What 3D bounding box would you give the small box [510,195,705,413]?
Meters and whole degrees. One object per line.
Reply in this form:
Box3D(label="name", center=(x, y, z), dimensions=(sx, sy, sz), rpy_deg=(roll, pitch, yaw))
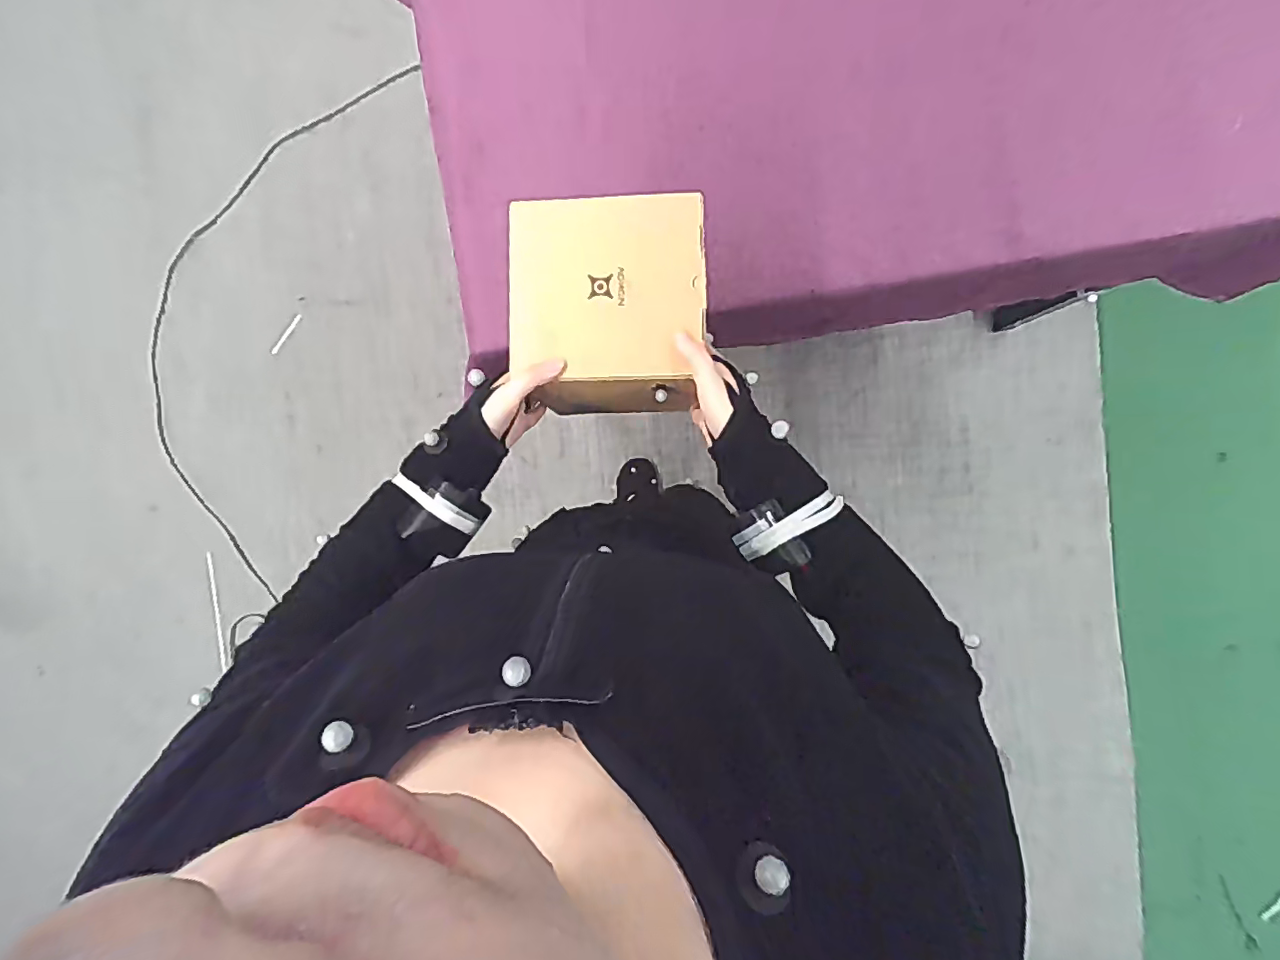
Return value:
Box3D(label="small box", center=(-0.022, -0.166, 0.561), dimensions=(0.179, 0.176, 0.168), rpy_deg=(-1, 86, 5))
